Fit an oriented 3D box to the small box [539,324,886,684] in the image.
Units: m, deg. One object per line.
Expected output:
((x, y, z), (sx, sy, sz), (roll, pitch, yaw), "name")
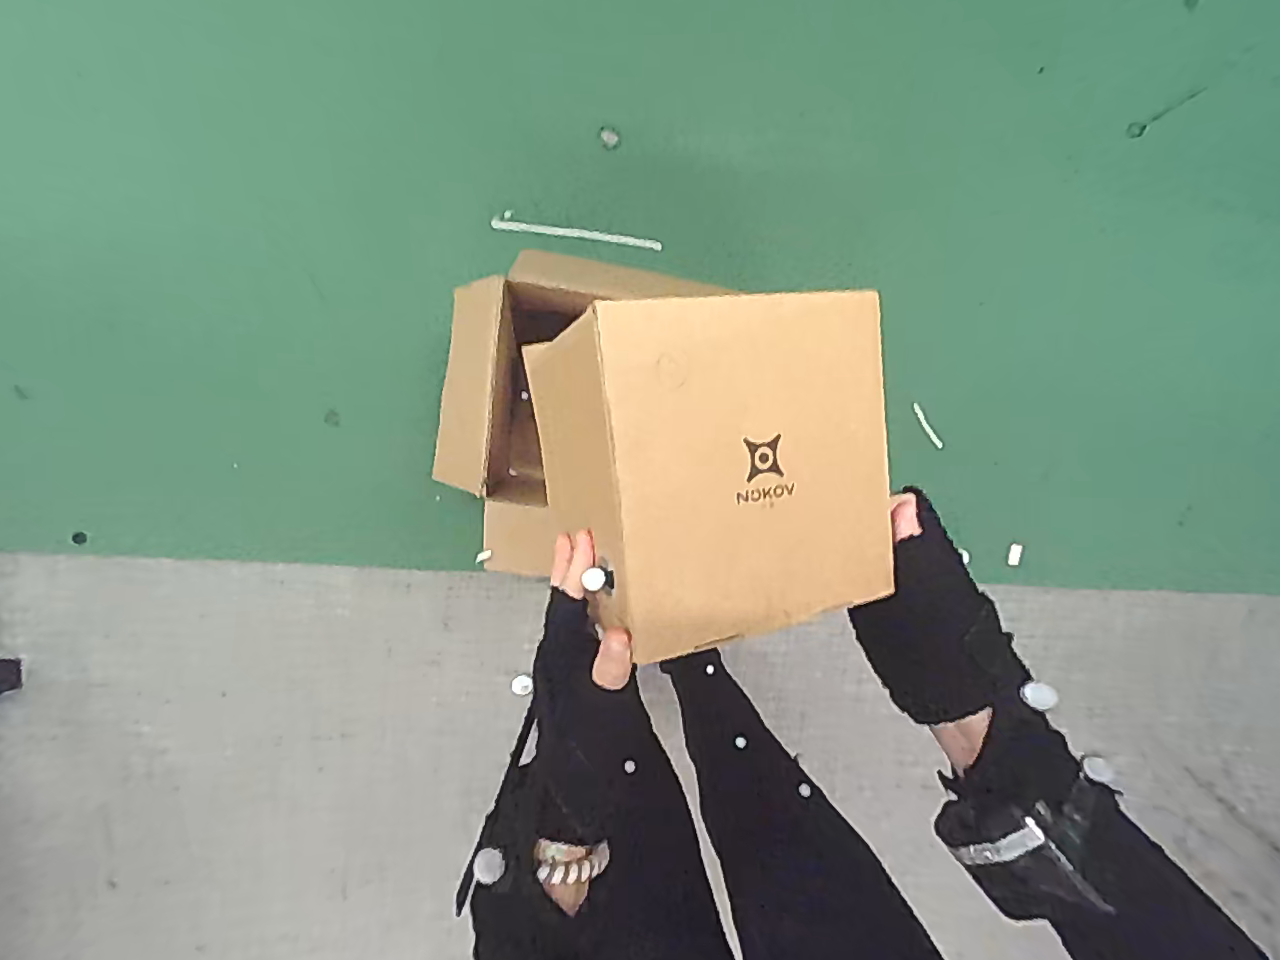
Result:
((0.035, 0.002, 0.362), (0.168, 0.176, 0.179), (-8, 98, -20), "small box")
